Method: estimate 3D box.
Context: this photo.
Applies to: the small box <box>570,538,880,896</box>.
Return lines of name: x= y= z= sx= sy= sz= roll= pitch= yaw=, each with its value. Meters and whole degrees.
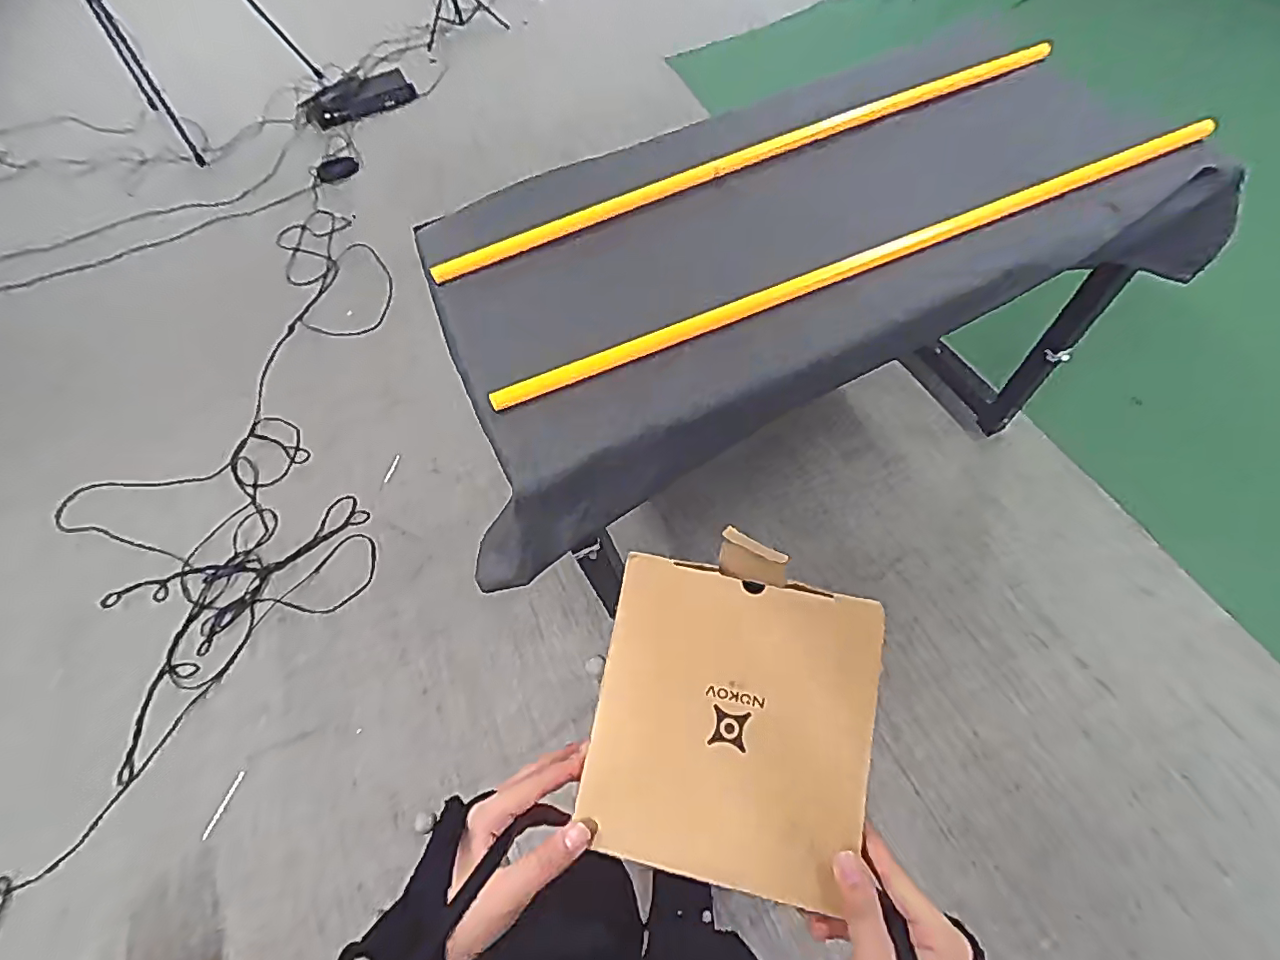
small box: x=0.061 y=0.155 z=0.406 sx=0.168 sy=0.176 sz=0.179 roll=10 pitch=76 yaw=7
